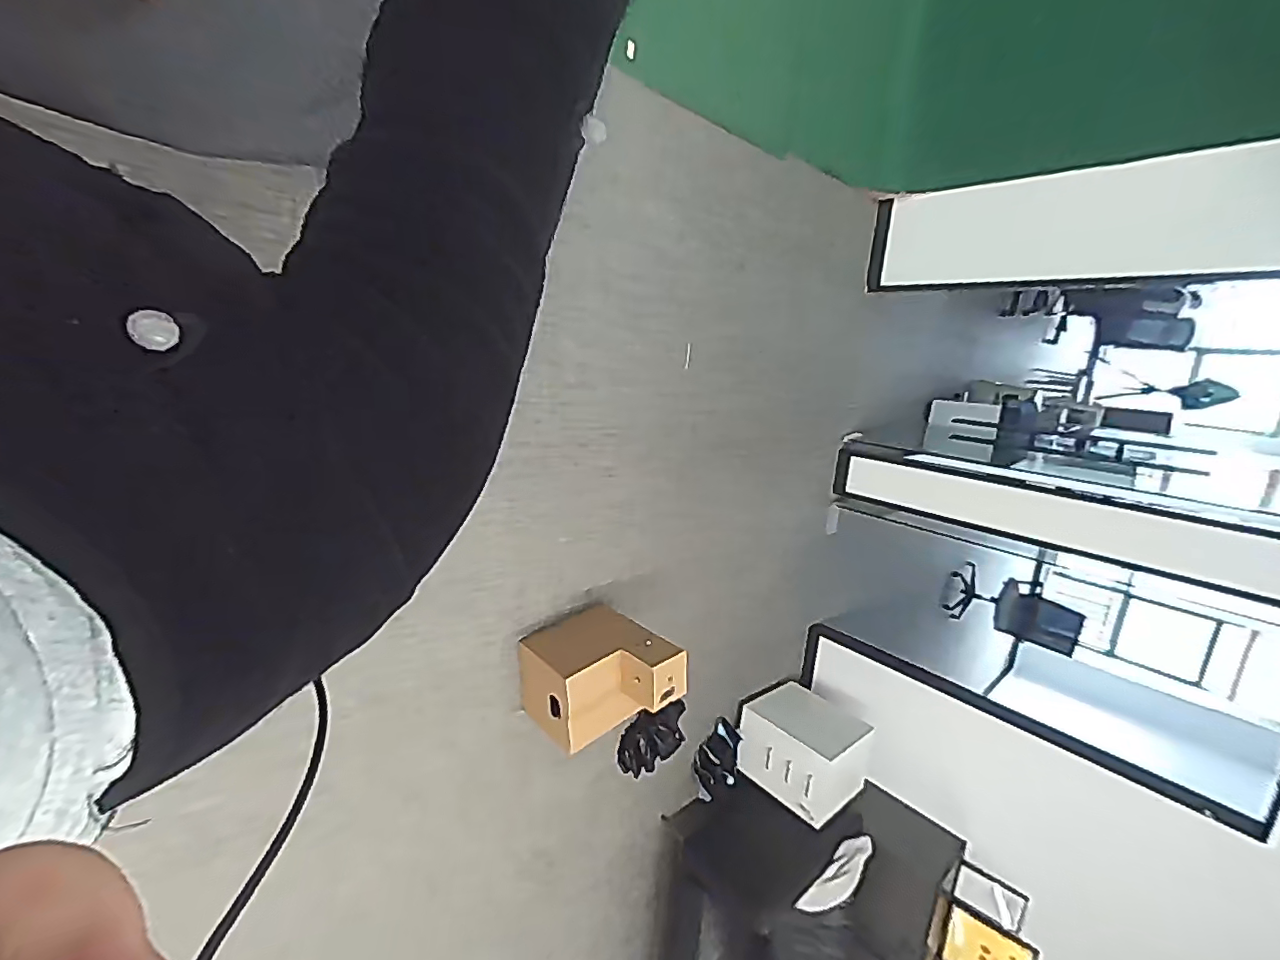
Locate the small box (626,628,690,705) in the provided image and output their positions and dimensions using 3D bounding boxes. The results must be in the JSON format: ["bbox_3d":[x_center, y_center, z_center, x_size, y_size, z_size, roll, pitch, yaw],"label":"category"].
[{"bbox_3d":[0.063,0.660,1.935,0.168,0.176,0.179,-14,107,-42],"label":"small box"}]
